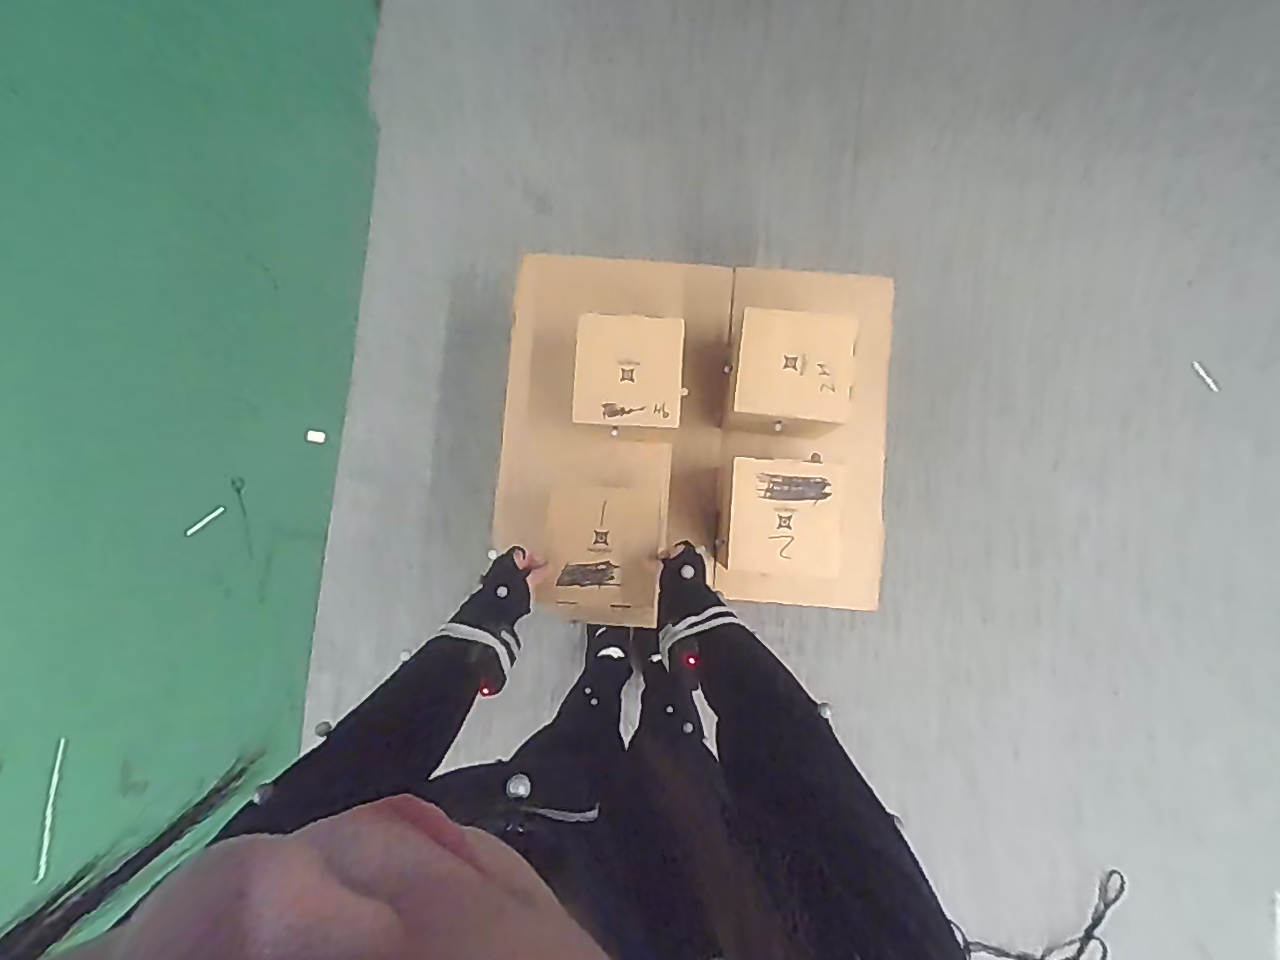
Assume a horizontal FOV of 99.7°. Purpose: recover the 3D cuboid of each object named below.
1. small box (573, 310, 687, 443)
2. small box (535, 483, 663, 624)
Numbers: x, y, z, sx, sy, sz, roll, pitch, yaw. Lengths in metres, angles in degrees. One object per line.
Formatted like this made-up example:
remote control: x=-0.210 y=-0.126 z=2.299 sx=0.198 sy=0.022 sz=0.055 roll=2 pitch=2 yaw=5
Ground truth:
small box: x=-0.012 y=-0.165 z=0.904 sx=0.168 sy=0.176 sz=0.179 roll=4 pitch=85 yaw=3
small box: x=-0.053 y=0.120 z=0.838 sx=0.168 sy=0.176 sz=0.179 roll=3 pitch=66 yaw=4
